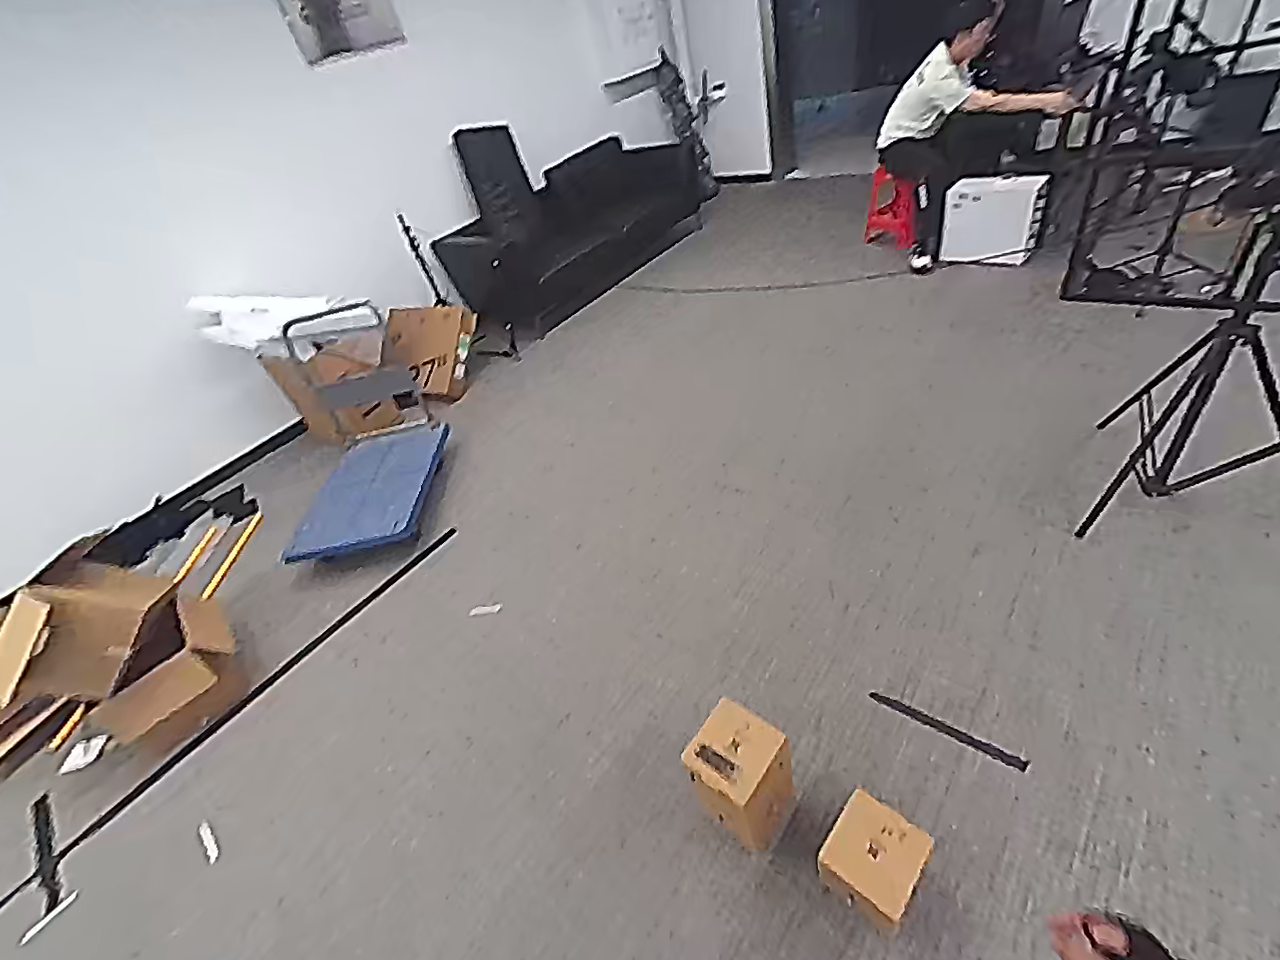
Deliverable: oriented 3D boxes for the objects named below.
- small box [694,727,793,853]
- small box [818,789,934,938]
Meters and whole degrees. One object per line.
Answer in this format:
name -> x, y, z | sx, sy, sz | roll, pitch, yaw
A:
small box -> 0.256, 0.750, 1.310 | 0.168, 0.176, 0.179 | 22, 53, 39
small box -> 0.496, 0.810, 1.140 | 0.168, 0.176, 0.179 | 23, 53, 39
